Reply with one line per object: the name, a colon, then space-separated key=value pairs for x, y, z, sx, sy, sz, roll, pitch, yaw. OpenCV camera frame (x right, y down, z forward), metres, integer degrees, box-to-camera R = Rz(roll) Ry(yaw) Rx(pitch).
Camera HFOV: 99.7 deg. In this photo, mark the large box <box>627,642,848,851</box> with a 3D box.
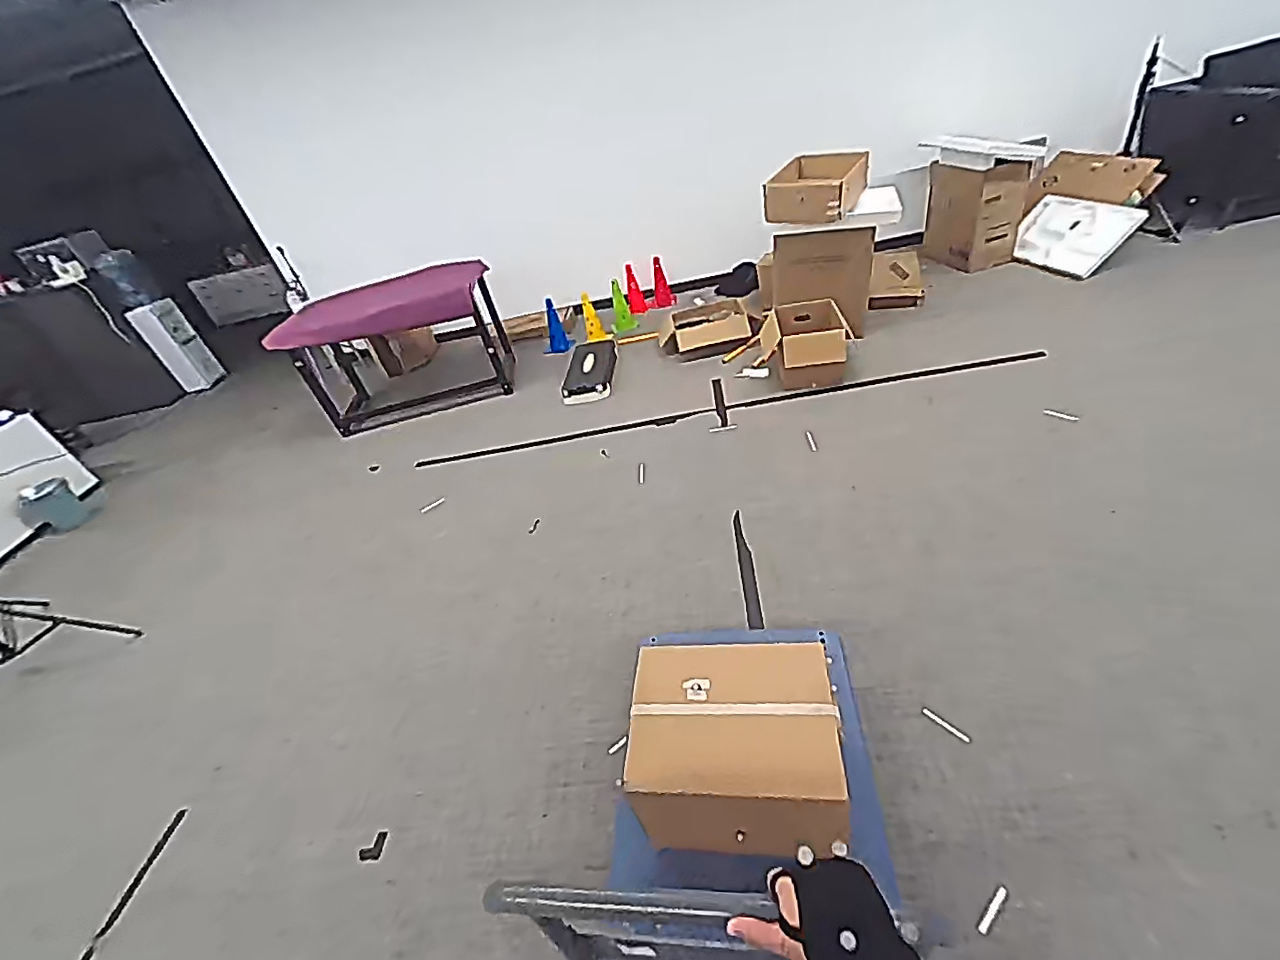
large box: x=0.215 y=0.585 z=1.185 sx=0.408 sy=0.320 sz=0.320 roll=-7 pitch=37 yaw=13
